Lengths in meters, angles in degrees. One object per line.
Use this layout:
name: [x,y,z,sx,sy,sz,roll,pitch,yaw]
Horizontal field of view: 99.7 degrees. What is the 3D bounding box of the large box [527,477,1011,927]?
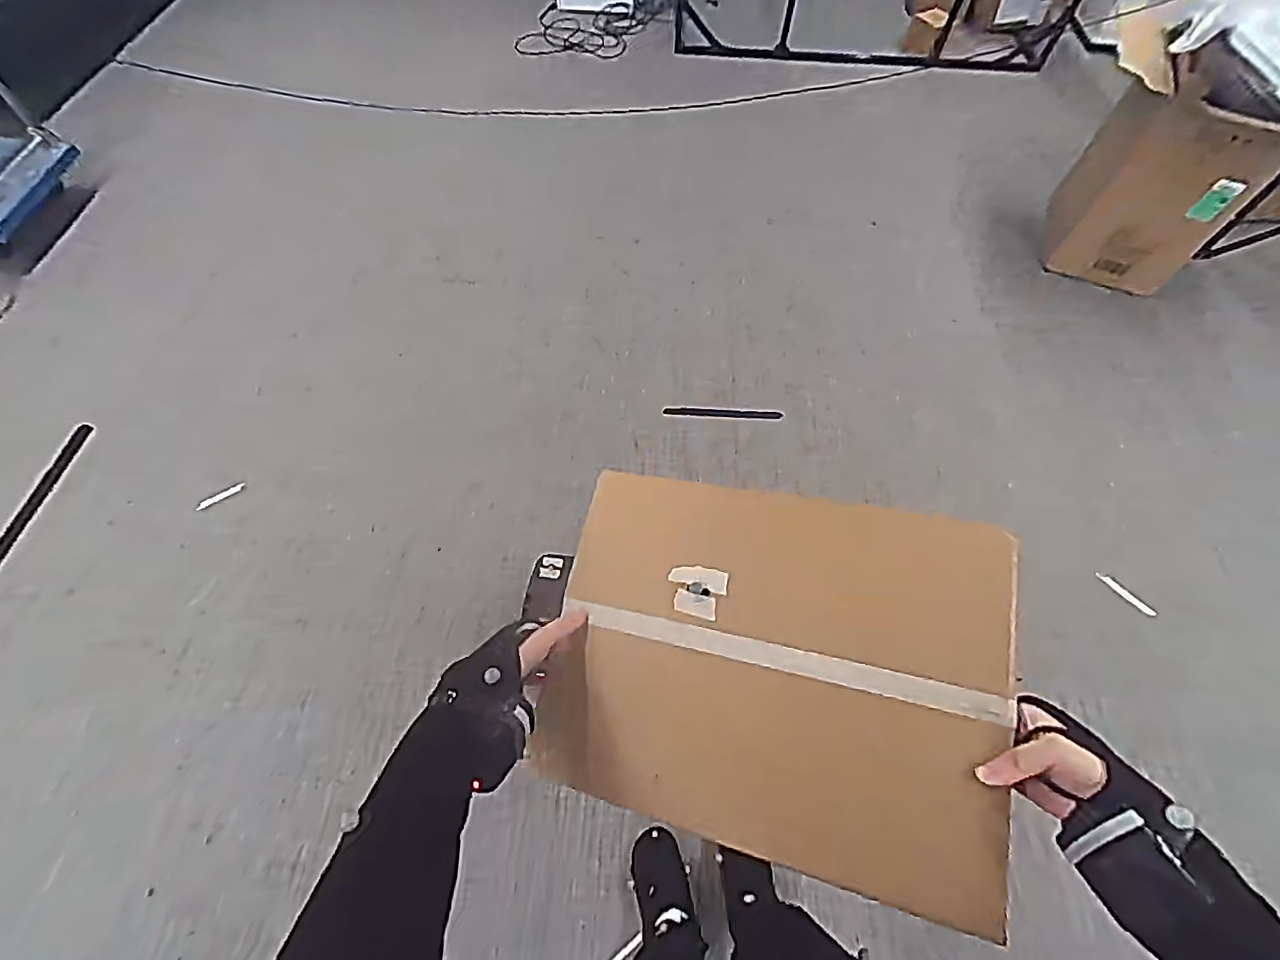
large box: [0.151,0.210,0.627,0.408,0.320,0.320,8,71,20]
